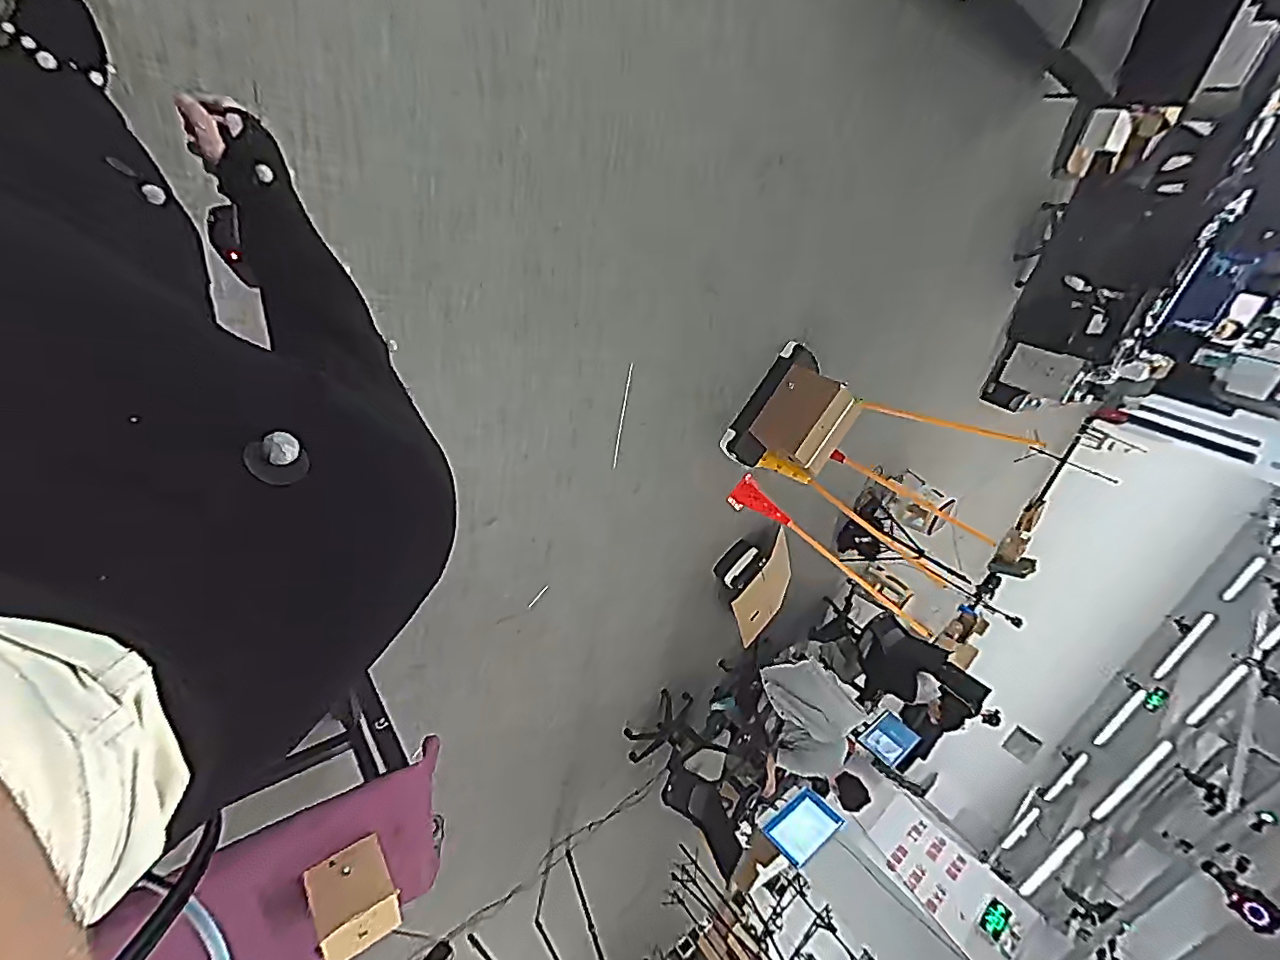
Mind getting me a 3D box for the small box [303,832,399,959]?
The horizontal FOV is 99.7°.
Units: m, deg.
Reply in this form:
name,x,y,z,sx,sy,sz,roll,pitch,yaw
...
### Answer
name,x,y,z,sx,sy,sz,roll,pitch,yaw
small box,-0.713,1.025,1.338,0.168,0.176,0.179,-16,129,-37
